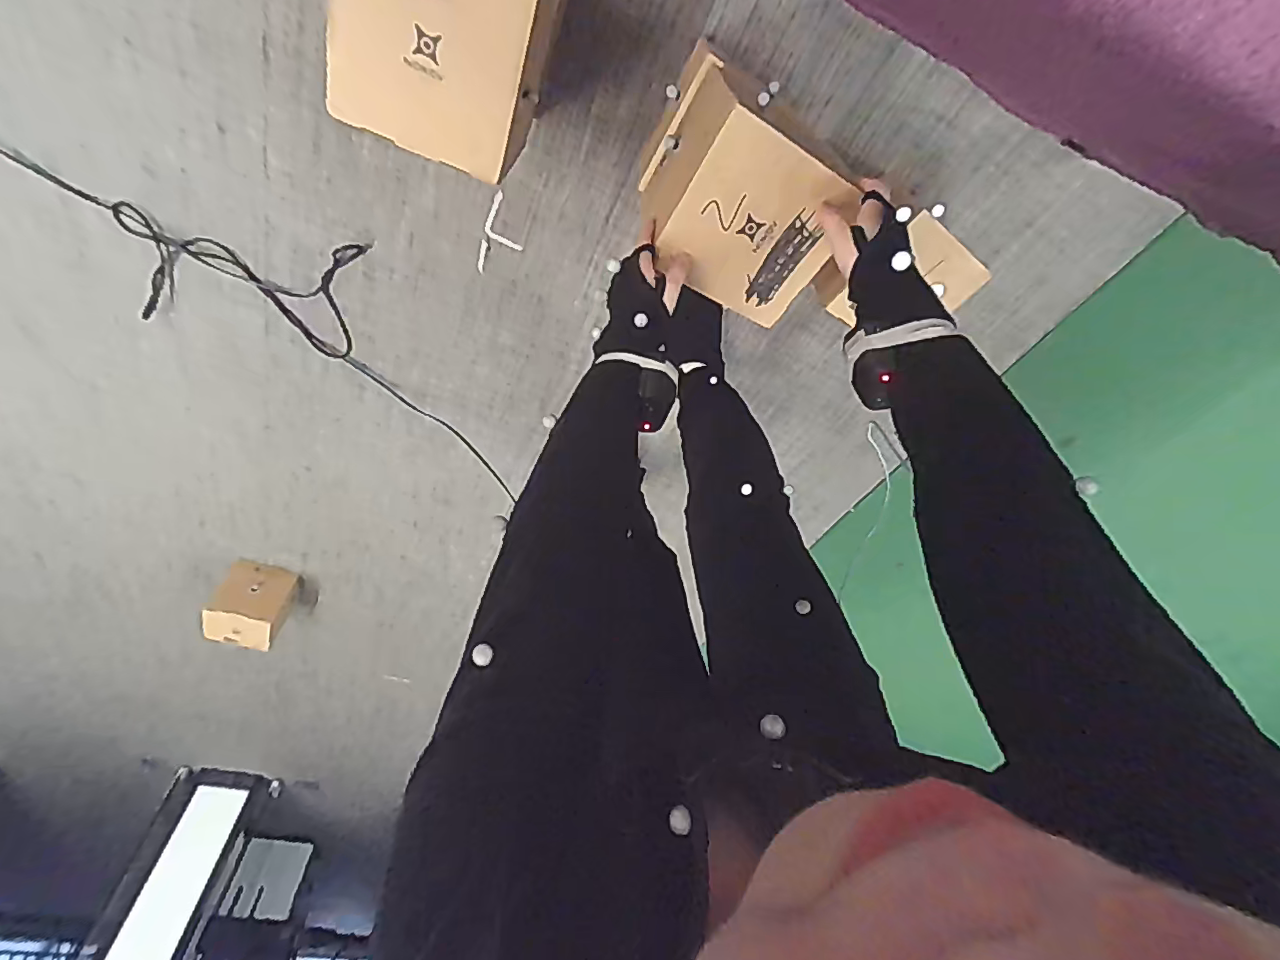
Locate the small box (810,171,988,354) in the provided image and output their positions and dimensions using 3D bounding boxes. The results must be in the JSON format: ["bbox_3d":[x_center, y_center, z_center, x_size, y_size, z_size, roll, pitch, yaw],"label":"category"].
[{"bbox_3d":[0.390,-0.342,0.851,0.168,0.176,0.179,26,129,-23],"label":"small box"}]

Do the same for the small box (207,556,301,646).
[{"bbox_3d":[-1.100,0.344,1.547,0.168,0.176,0.179,22,130,-18],"label":"small box"}]
